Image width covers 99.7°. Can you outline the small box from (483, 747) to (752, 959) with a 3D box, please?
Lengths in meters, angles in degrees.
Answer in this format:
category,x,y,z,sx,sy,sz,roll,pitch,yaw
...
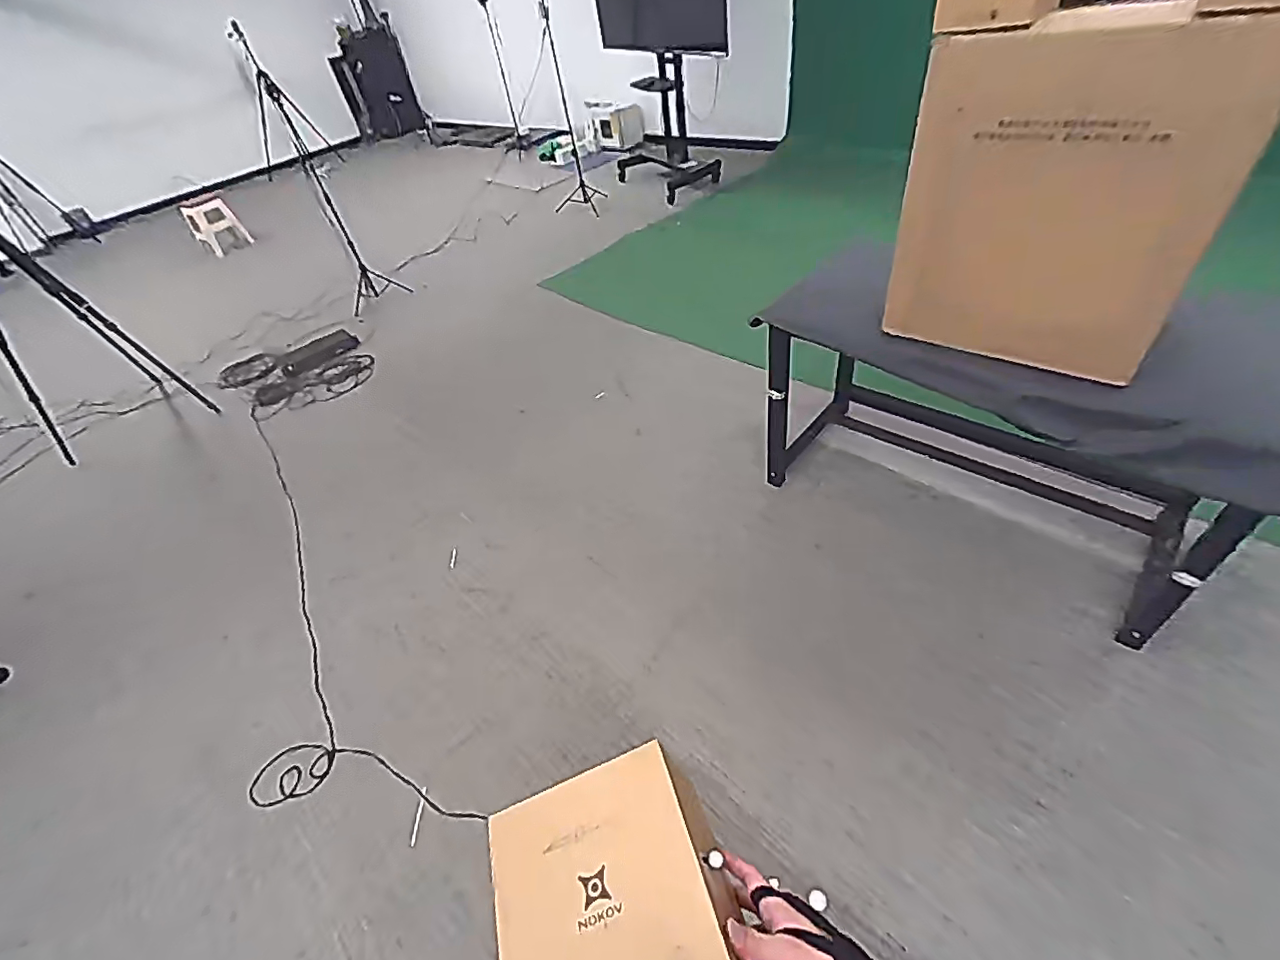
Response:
category,x,y,z,sx,sy,sz,roll,pitch,yaw
small box,-0.015,0.371,0.466,0.168,0.176,0.179,-25,43,-1

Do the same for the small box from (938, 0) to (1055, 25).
category,x,y,z,sx,sy,sz,roll,pitch,yaw
small box,0.648,-0.925,0.950,0.168,0.176,0.179,26,57,34
